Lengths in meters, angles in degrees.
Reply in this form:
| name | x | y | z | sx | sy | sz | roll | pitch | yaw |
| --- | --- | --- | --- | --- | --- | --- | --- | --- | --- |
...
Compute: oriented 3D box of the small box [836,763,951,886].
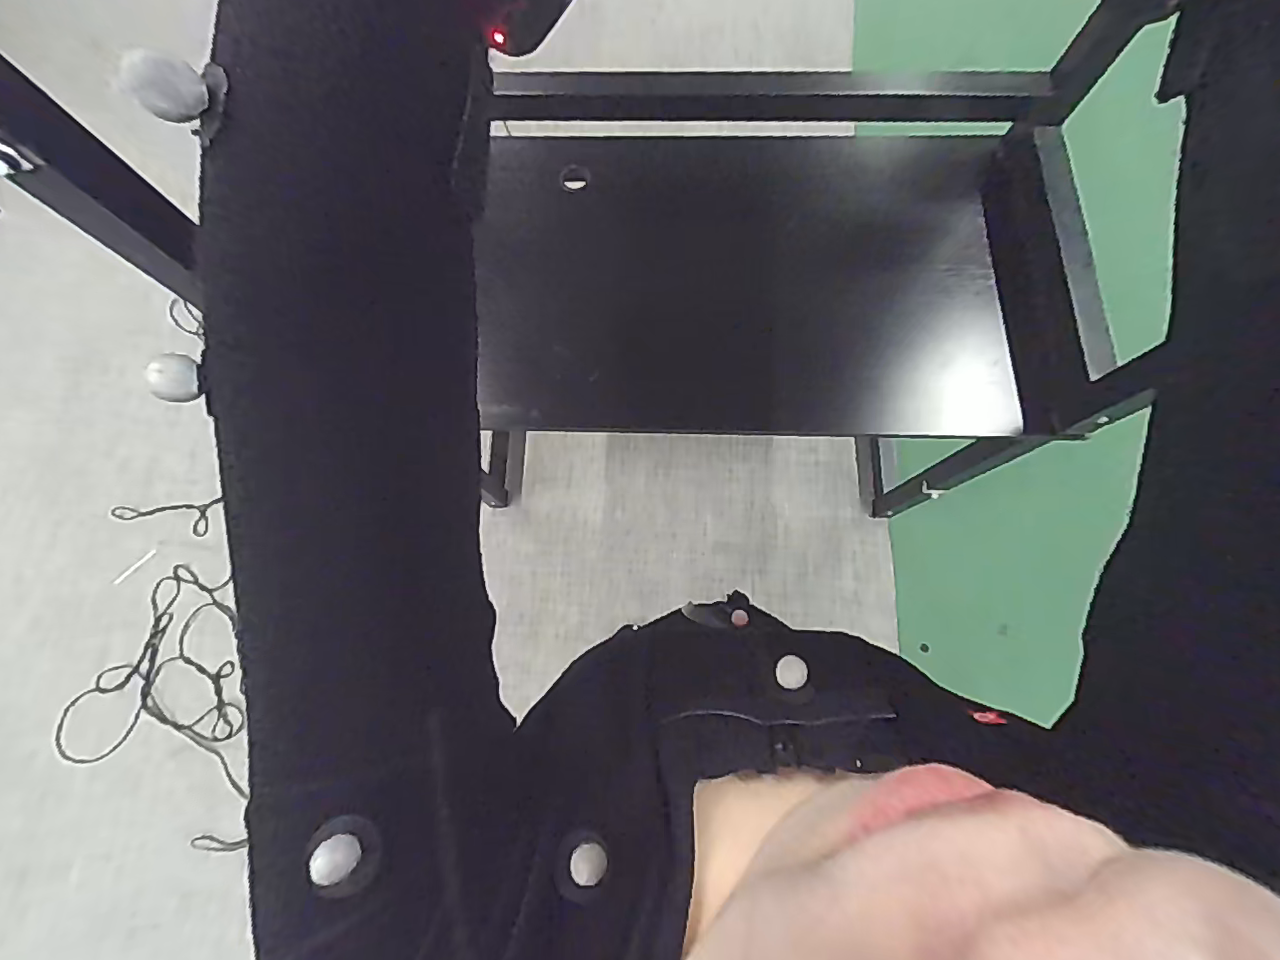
| name | x | y | z | sx | sy | sz | roll | pitch | yaw |
| --- | --- | --- | --- | --- | --- | --- | --- | --- | --- |
| small box | 0.527 | 0.713 | 1.141 | 0.179 | 0.176 | 0.168 | 8 | 75 | 5 |
